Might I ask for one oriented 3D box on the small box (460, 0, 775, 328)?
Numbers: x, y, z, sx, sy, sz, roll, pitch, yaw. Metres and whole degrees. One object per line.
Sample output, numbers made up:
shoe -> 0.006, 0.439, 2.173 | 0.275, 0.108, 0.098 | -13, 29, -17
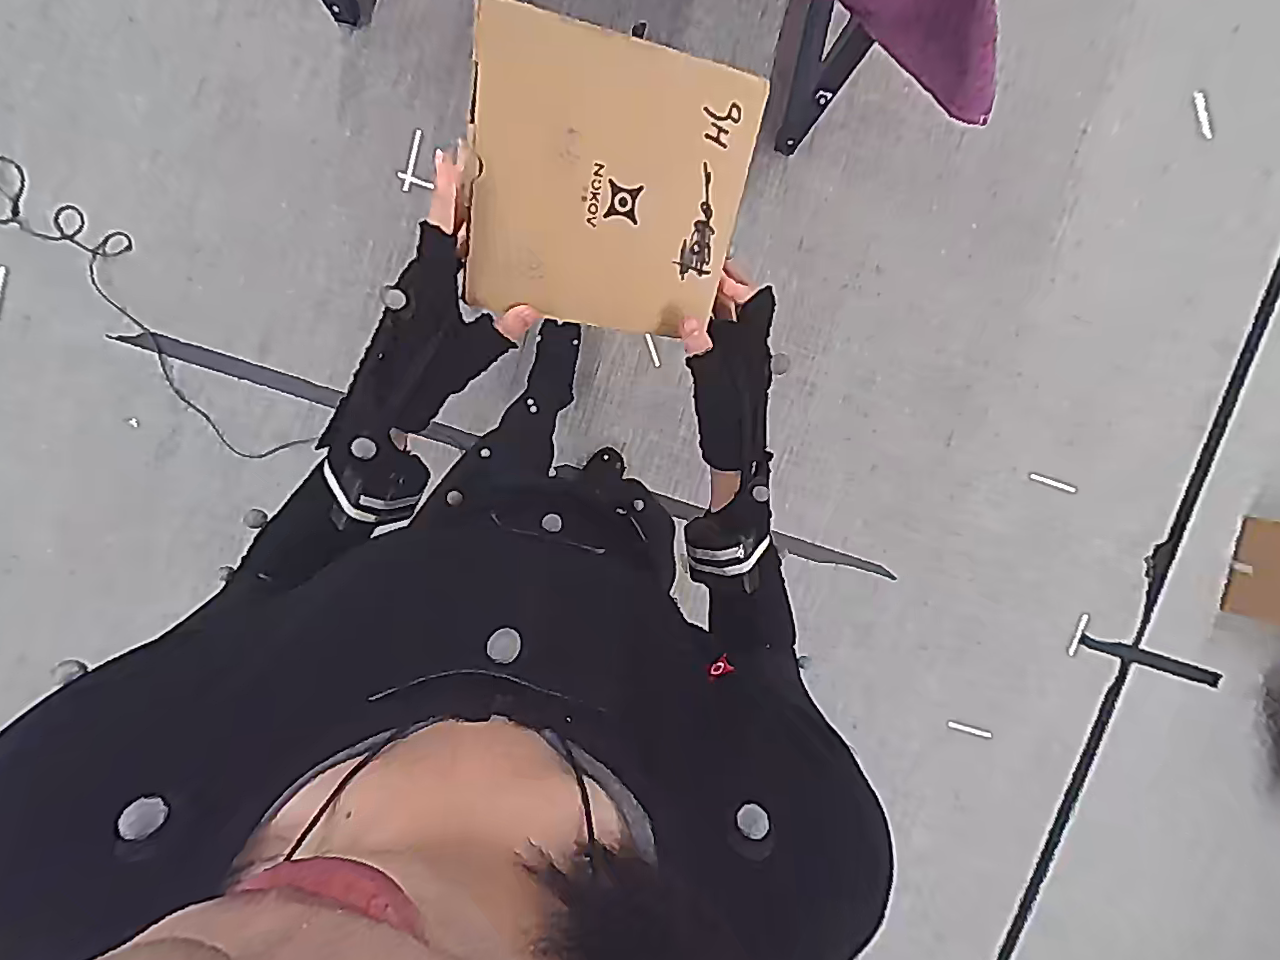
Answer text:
small box -> -0.031, -0.229, 0.409 | 0.179, 0.176, 0.168 | 6, 118, -15

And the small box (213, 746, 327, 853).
small box -> -0.960, 0.828, 1.415 | 0.179, 0.176, 0.168 | 13, 96, -7
